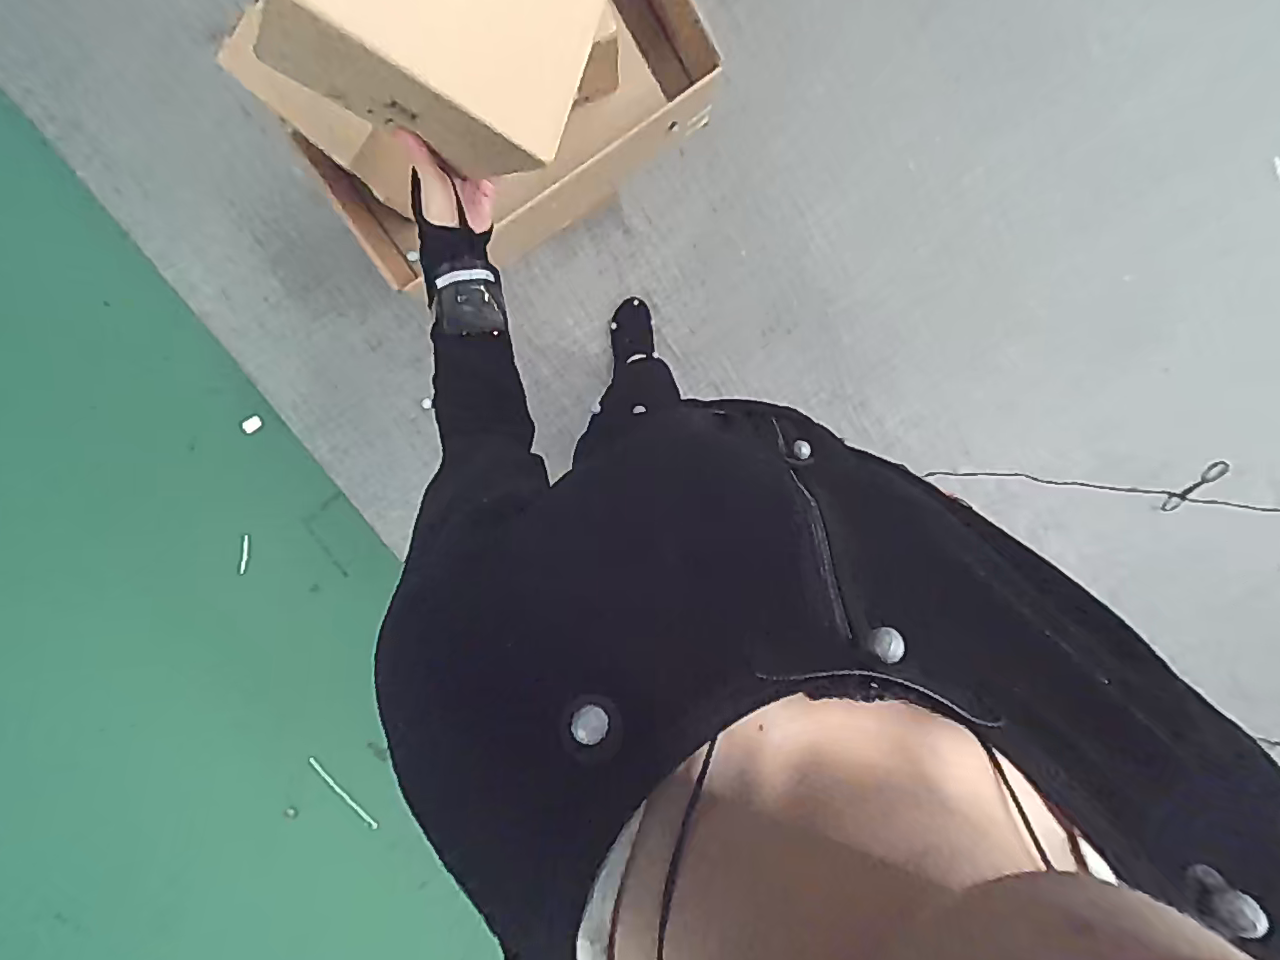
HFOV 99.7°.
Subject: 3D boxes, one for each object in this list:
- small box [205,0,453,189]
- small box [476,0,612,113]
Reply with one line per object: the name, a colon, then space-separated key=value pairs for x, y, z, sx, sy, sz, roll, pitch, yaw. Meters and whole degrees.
small box: x=-0.371 y=-0.506 z=0.681 sx=0.179 sy=0.176 sz=0.168 roll=39 pitch=100 yaw=-12
small box: x=-0.145 y=-0.692 z=0.816 sx=0.168 sy=0.176 sz=0.179 roll=-22 pitch=104 yaw=3
